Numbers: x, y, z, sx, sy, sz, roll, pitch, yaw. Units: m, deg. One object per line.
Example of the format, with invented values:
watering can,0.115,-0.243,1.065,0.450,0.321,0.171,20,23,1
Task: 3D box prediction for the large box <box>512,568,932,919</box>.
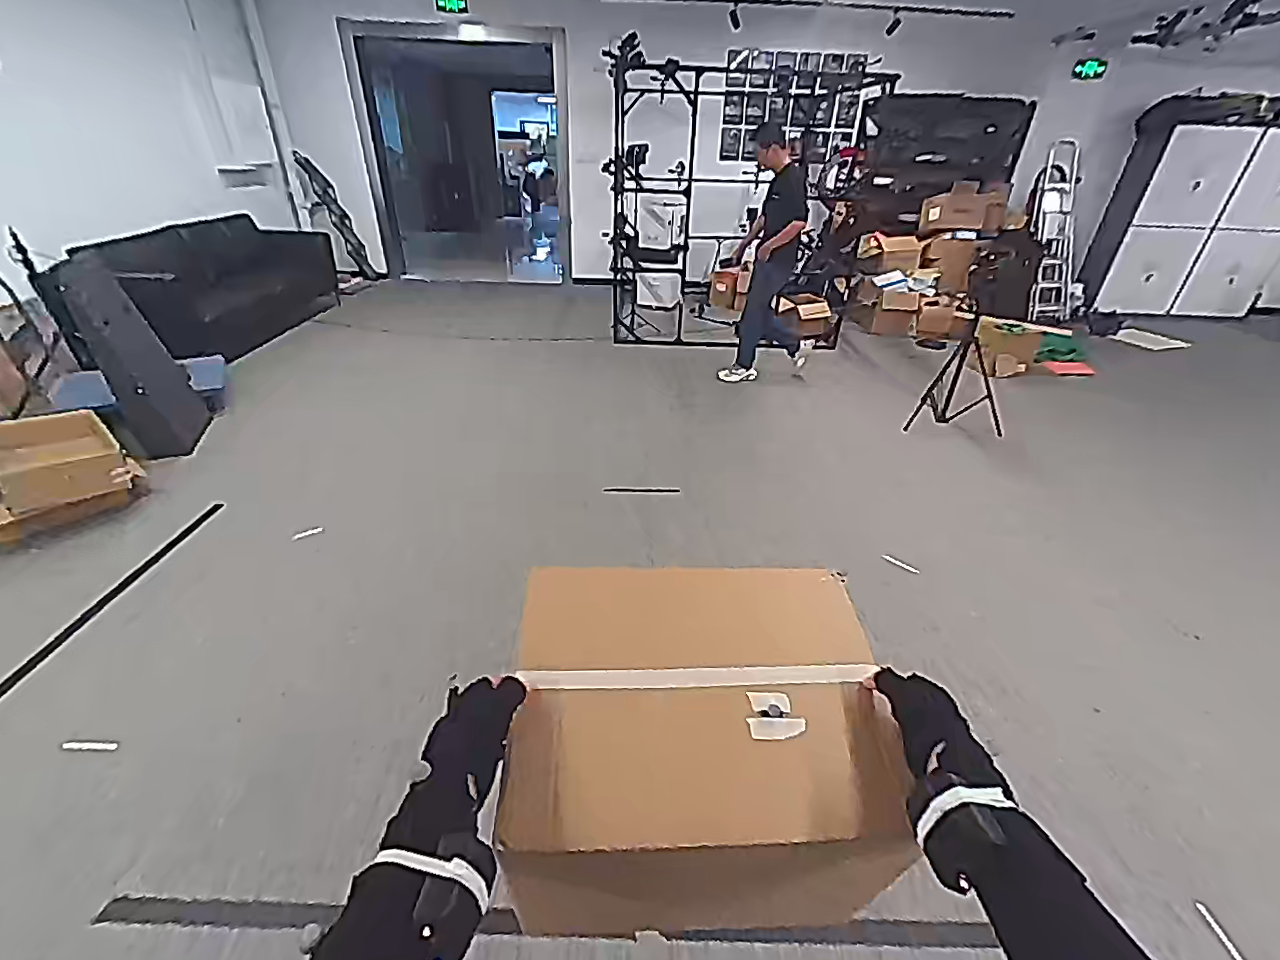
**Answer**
large box,0.065,0.332,0.702,0.408,0.320,0.320,1,40,-4
